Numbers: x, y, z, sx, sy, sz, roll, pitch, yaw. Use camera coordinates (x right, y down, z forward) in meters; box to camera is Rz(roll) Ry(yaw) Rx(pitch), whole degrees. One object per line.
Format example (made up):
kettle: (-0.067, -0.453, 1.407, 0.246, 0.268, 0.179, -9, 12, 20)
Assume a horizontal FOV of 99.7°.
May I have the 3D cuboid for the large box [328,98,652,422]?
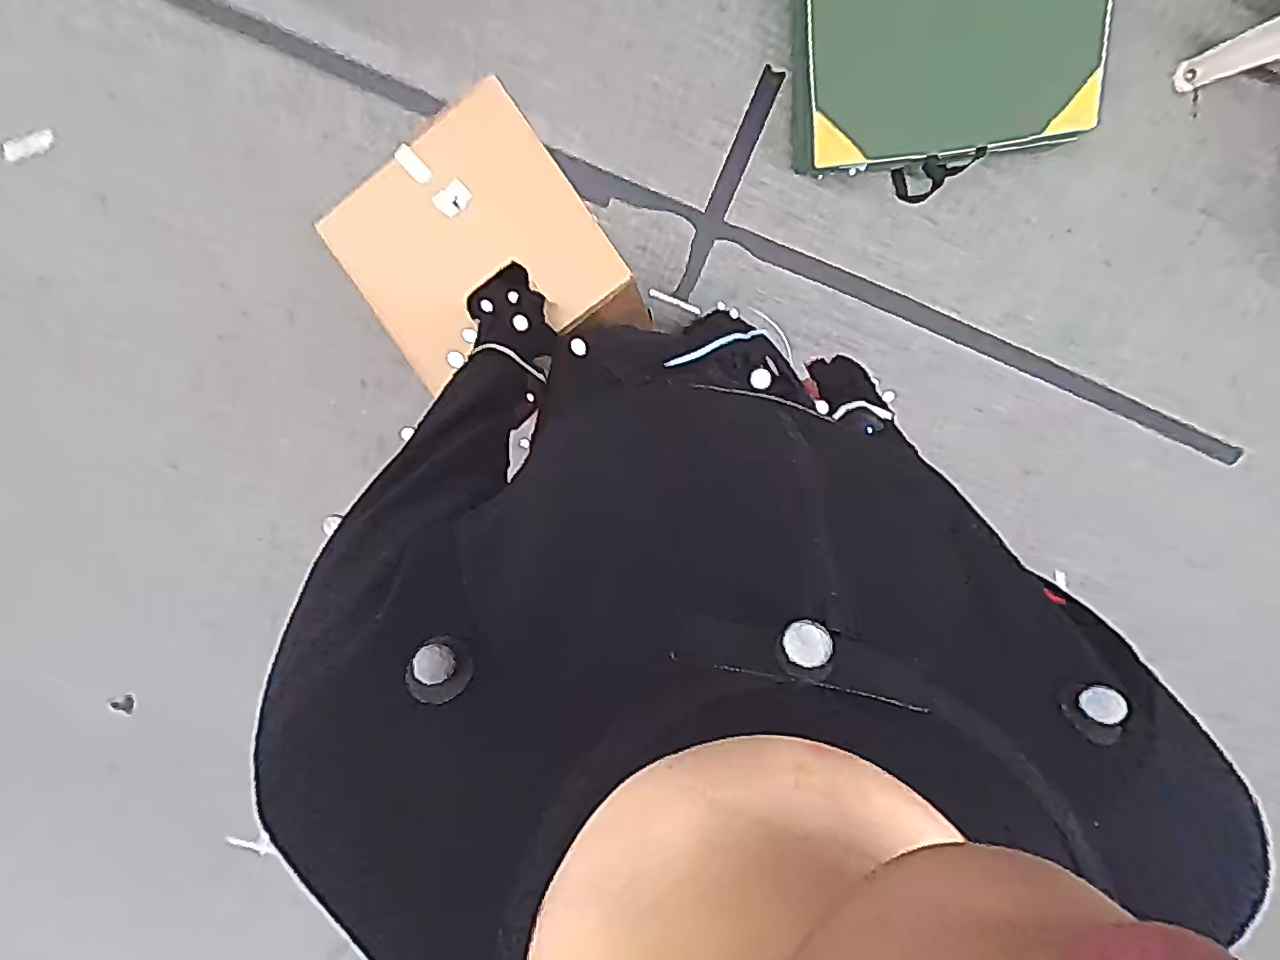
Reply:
large box: (-0.204, -0.315, 0.910, 0.320, 0.408, 0.320, -35, 94, 8)
